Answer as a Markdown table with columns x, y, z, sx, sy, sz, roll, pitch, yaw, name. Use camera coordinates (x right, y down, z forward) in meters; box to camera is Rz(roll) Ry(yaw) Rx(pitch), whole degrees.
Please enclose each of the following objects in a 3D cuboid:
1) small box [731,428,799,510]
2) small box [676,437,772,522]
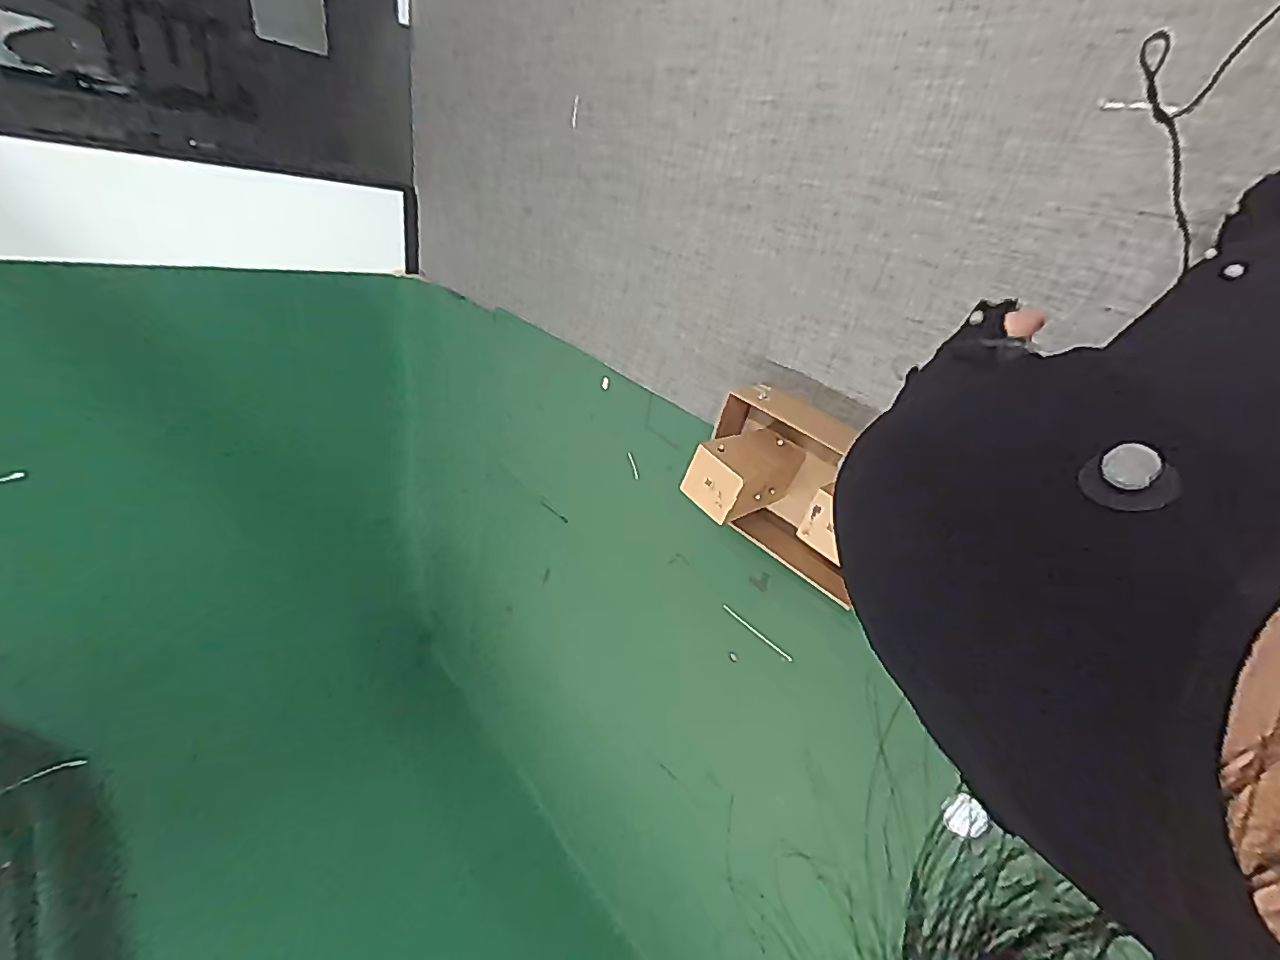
| x | y | z | sx | sy | sz | roll | pitch | yaw | name |
| --- | --- | --- | --- | --- | --- | --- | --- | --- | --- |
| 0.355 | -0.038 | 1.658 | 0.168 | 0.176 | 0.179 | 42 | 128 | 29 | small box |
| 0.241 | -0.009 | 1.544 | 0.179 | 0.176 | 0.168 | 43 | 129 | 28 | small box |
